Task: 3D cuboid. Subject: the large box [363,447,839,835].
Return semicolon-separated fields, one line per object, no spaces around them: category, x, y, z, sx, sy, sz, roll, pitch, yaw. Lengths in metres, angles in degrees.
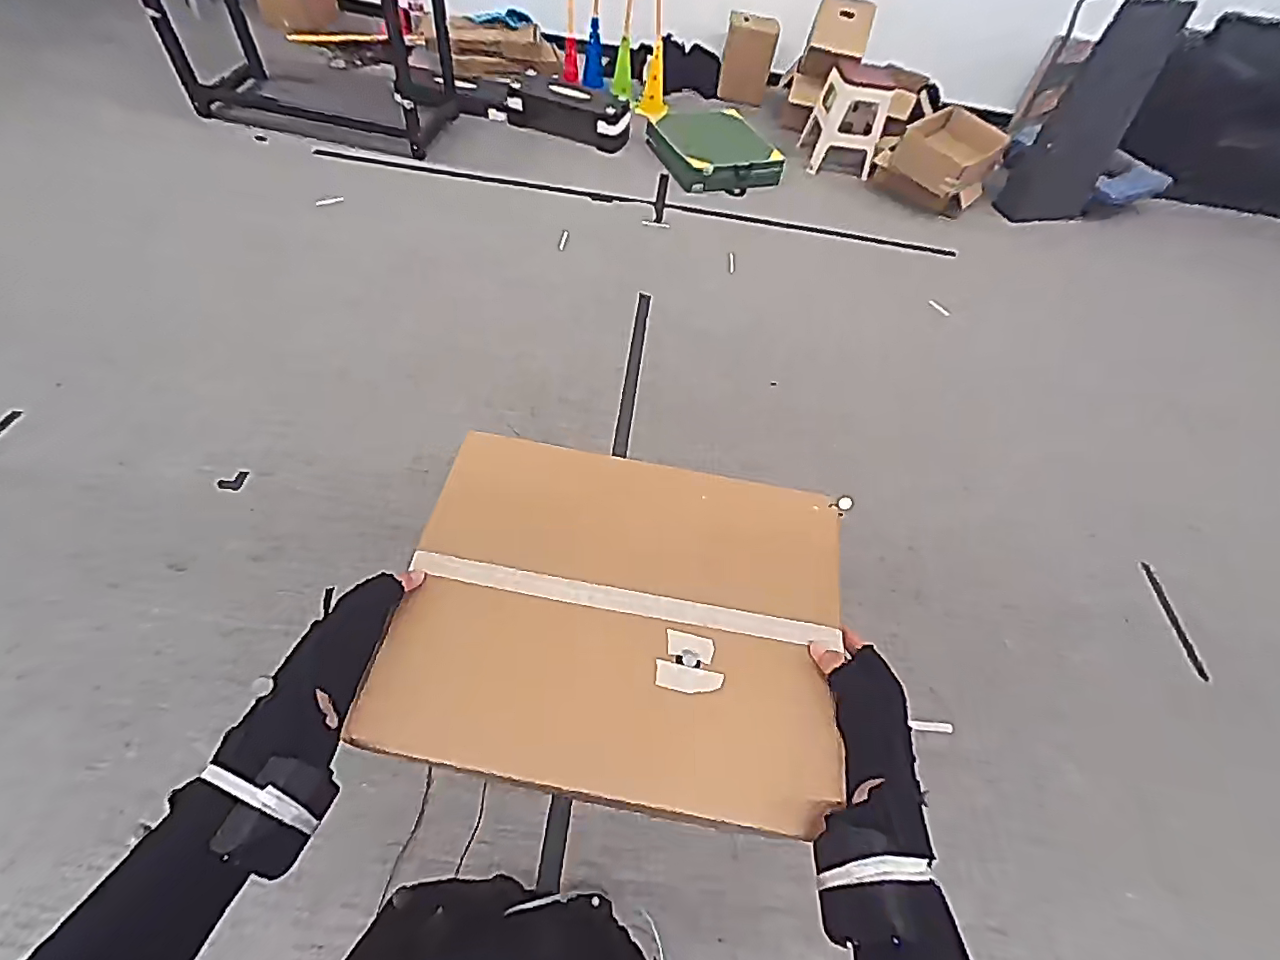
large box;-0.022;0.200;0.641;0.408;0.320;0.320;11;59;2
